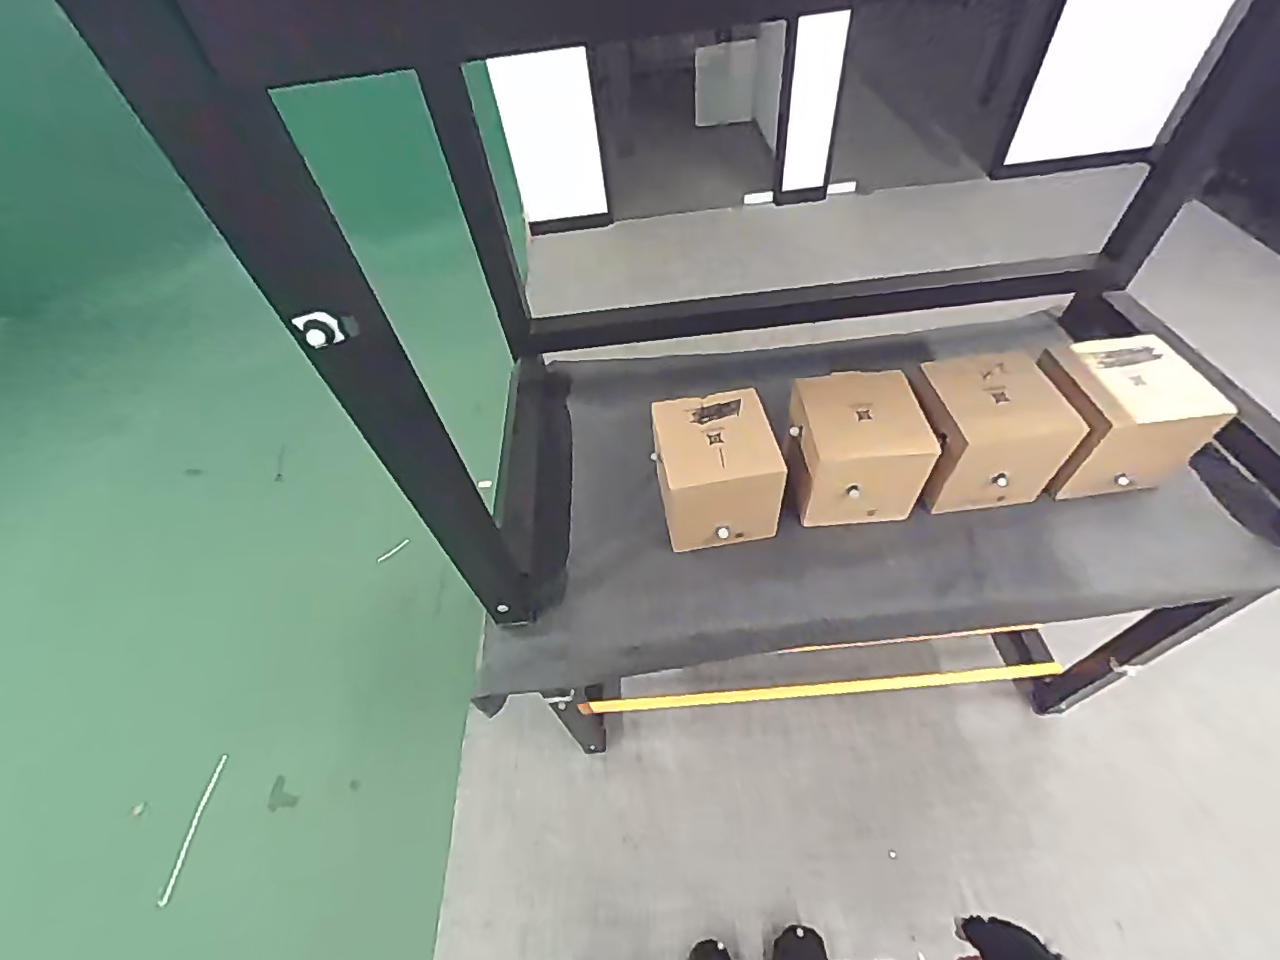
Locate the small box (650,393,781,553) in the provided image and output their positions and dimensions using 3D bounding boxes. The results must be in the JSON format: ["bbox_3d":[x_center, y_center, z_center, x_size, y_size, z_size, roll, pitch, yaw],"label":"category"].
[{"bbox_3d":[0.111,-0.009,0.859,0.168,0.176,0.179,-10,51,-1],"label":"small box"}]
